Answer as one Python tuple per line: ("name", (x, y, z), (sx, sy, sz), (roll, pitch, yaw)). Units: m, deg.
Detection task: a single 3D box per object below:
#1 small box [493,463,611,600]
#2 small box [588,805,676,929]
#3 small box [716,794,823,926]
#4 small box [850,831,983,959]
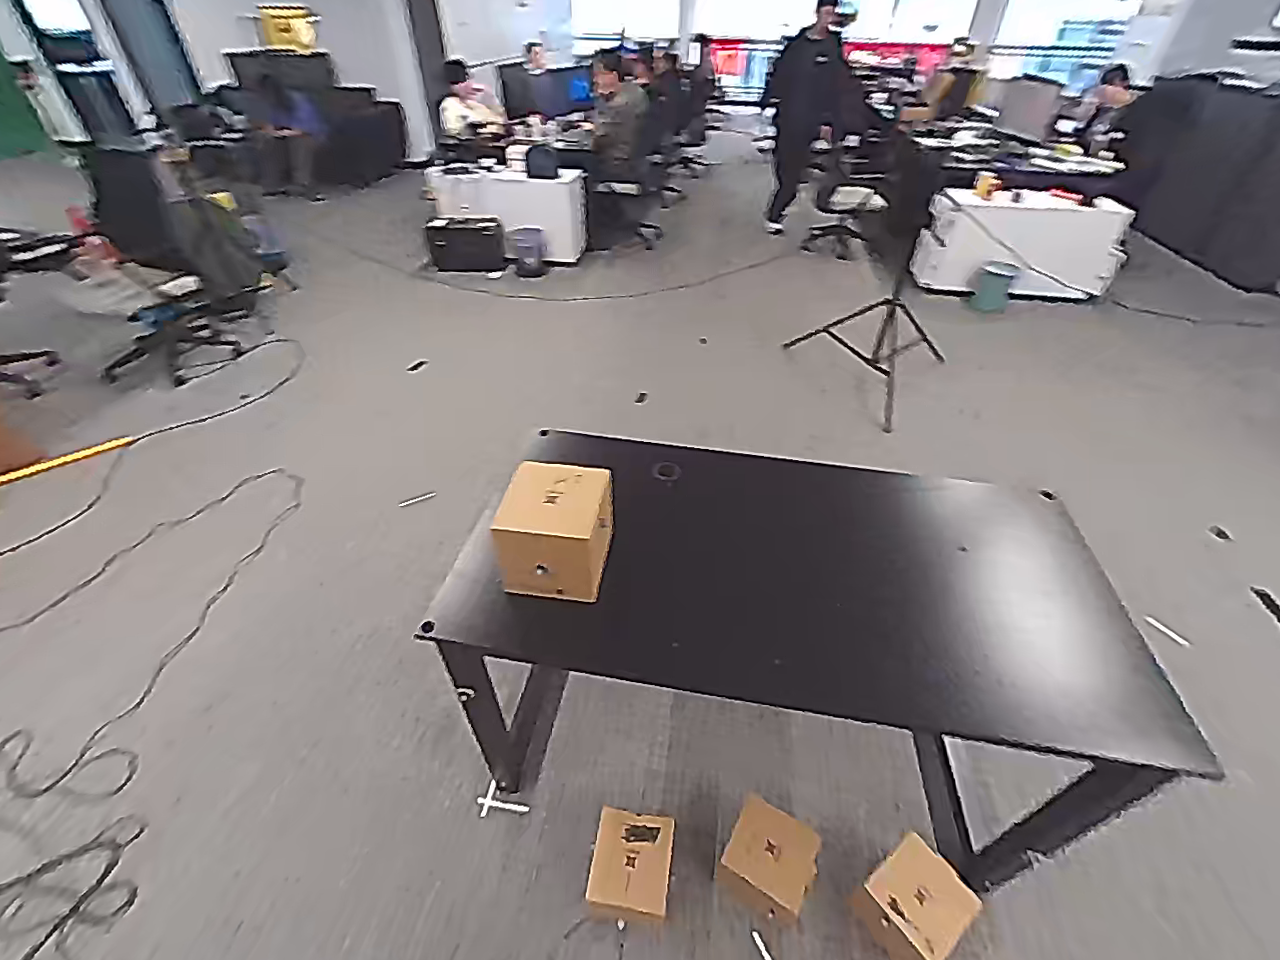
("small box", (-0.146, 0.093, 0.973), (0.168, 0.176, 0.179), (6, 41, 5))
("small box", (-0.014, 0.862, 1.204), (0.168, 0.176, 0.179), (6, 43, 7))
("small box", (0.287, 0.857, 1.216), (0.179, 0.176, 0.168), (21, 44, 24))
("small box", (0.580, 0.906, 1.158), (0.179, 0.176, 0.168), (-25, 47, -26))
